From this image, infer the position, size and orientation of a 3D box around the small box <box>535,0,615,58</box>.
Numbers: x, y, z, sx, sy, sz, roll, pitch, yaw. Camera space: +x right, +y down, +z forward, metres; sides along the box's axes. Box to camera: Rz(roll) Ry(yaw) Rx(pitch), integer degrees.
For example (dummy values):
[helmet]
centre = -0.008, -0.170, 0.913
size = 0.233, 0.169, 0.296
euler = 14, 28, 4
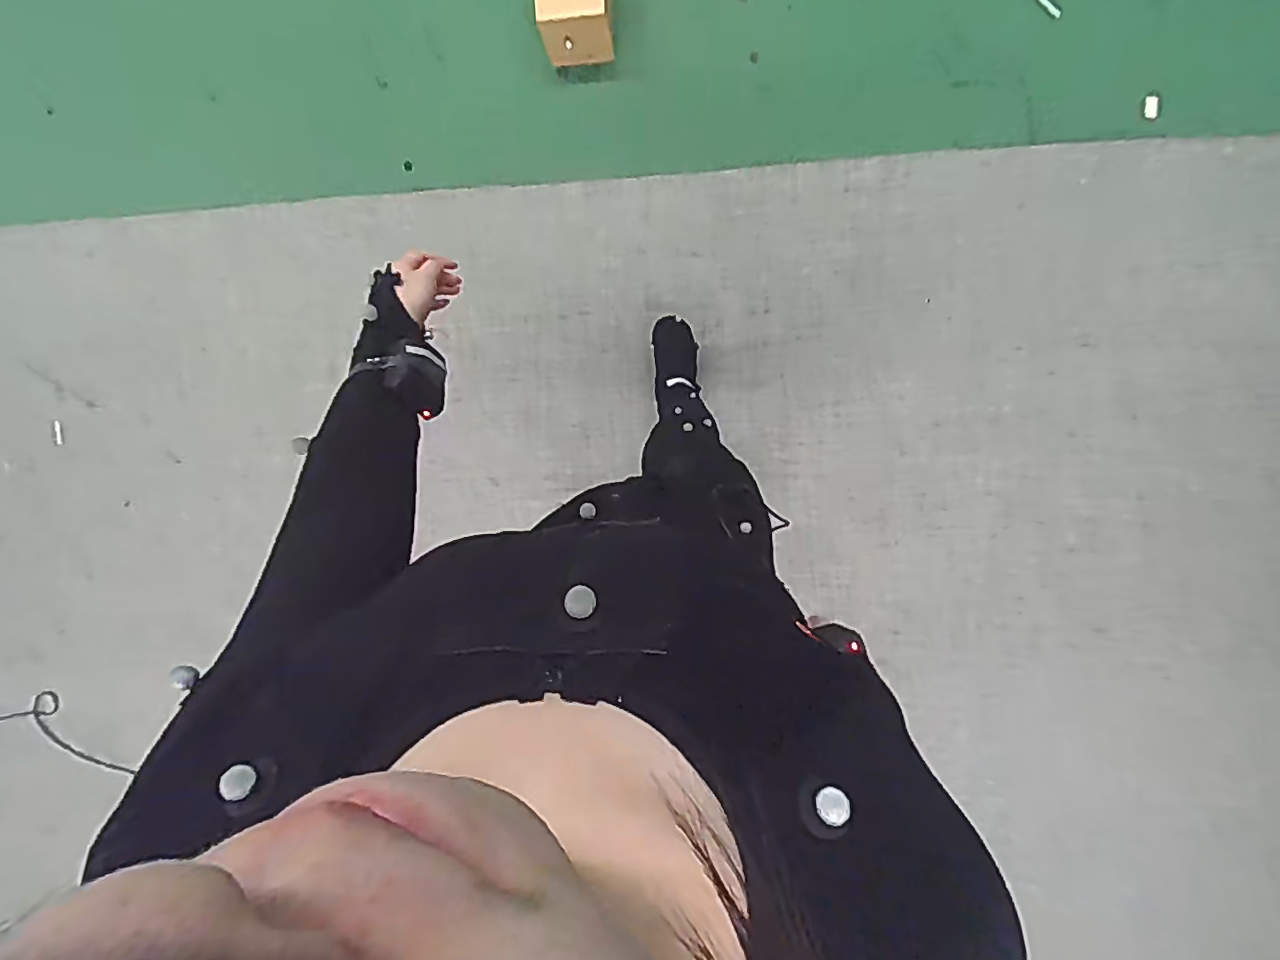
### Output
[small box]
centre = -0.155, -1.167, 1.314
size = 0.168, 0.176, 0.179
euler = -2, 94, 5
